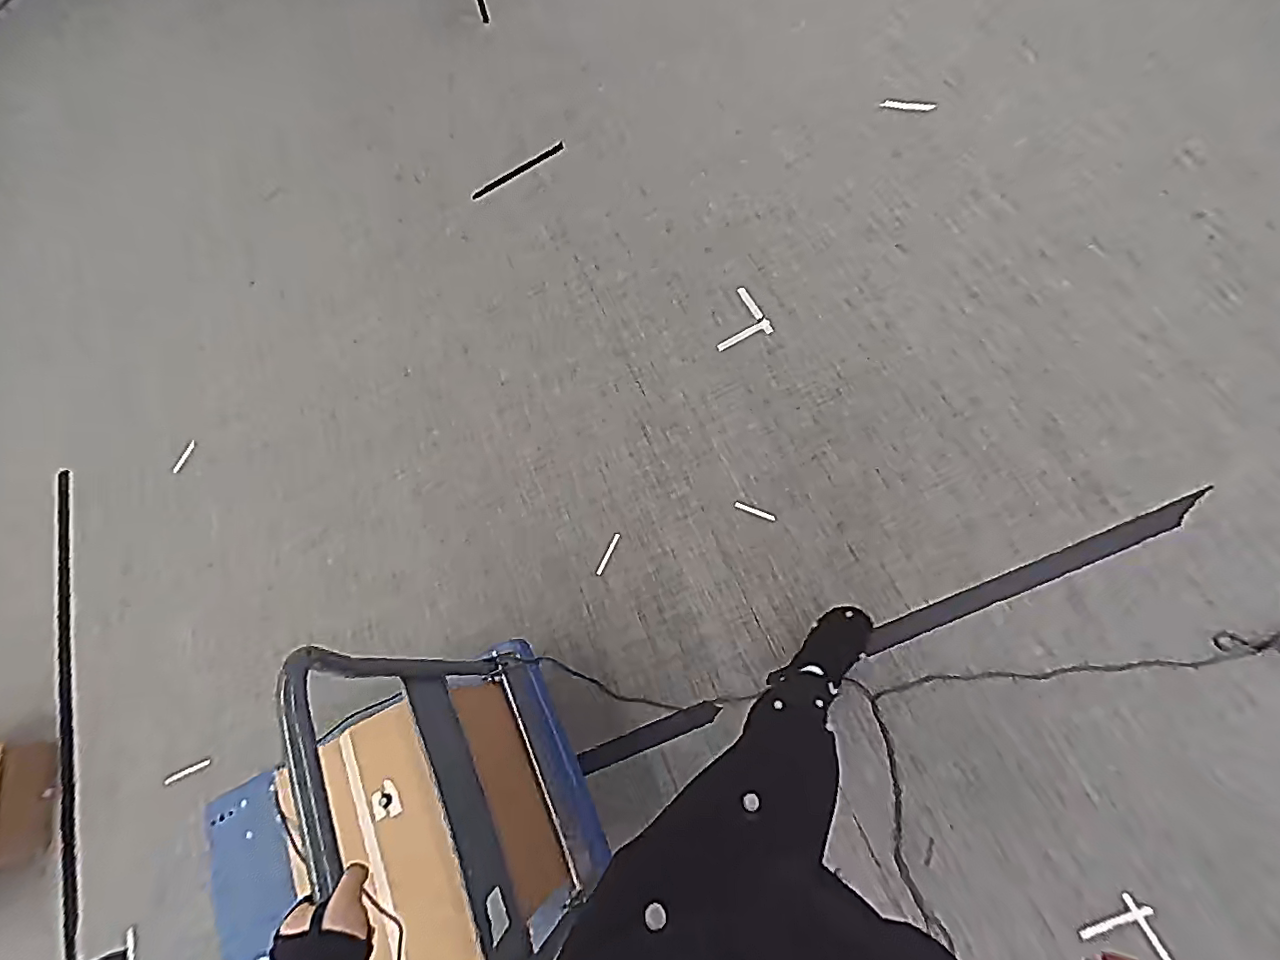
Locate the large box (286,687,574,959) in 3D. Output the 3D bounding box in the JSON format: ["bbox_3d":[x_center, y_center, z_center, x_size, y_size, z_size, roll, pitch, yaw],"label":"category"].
[{"bbox_3d":[-0.380,0.657,1.024,0.320,0.320,0.408,-30,68,2],"label":"large box"}]
